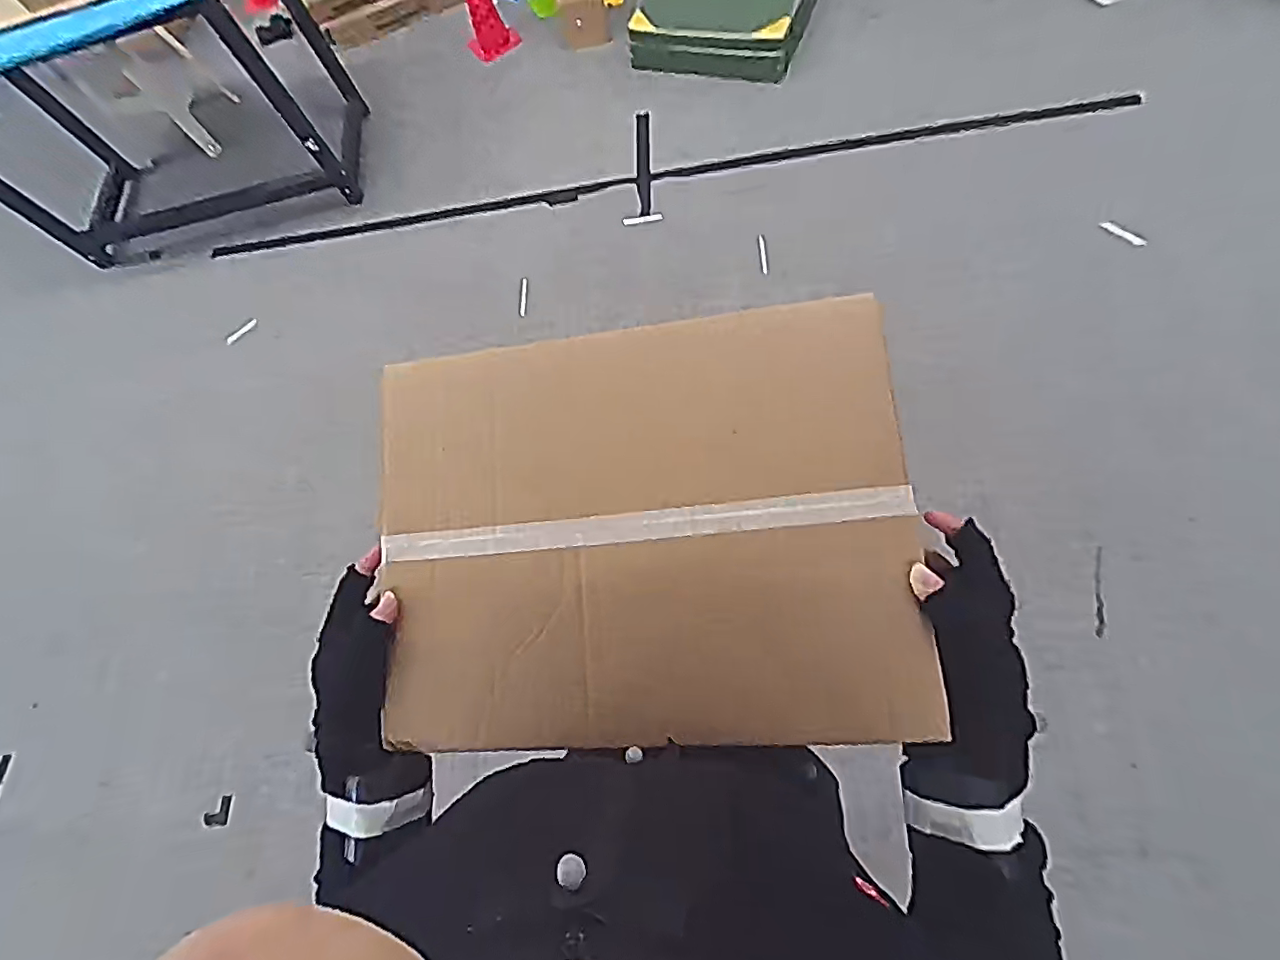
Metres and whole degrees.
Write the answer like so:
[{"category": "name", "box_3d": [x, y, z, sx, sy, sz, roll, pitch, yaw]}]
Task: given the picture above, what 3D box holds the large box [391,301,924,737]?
[{"category": "large box", "box_3d": [0.016, 0.054, 0.567, 0.408, 0.320, 0.320, -6, 79, 10]}]
